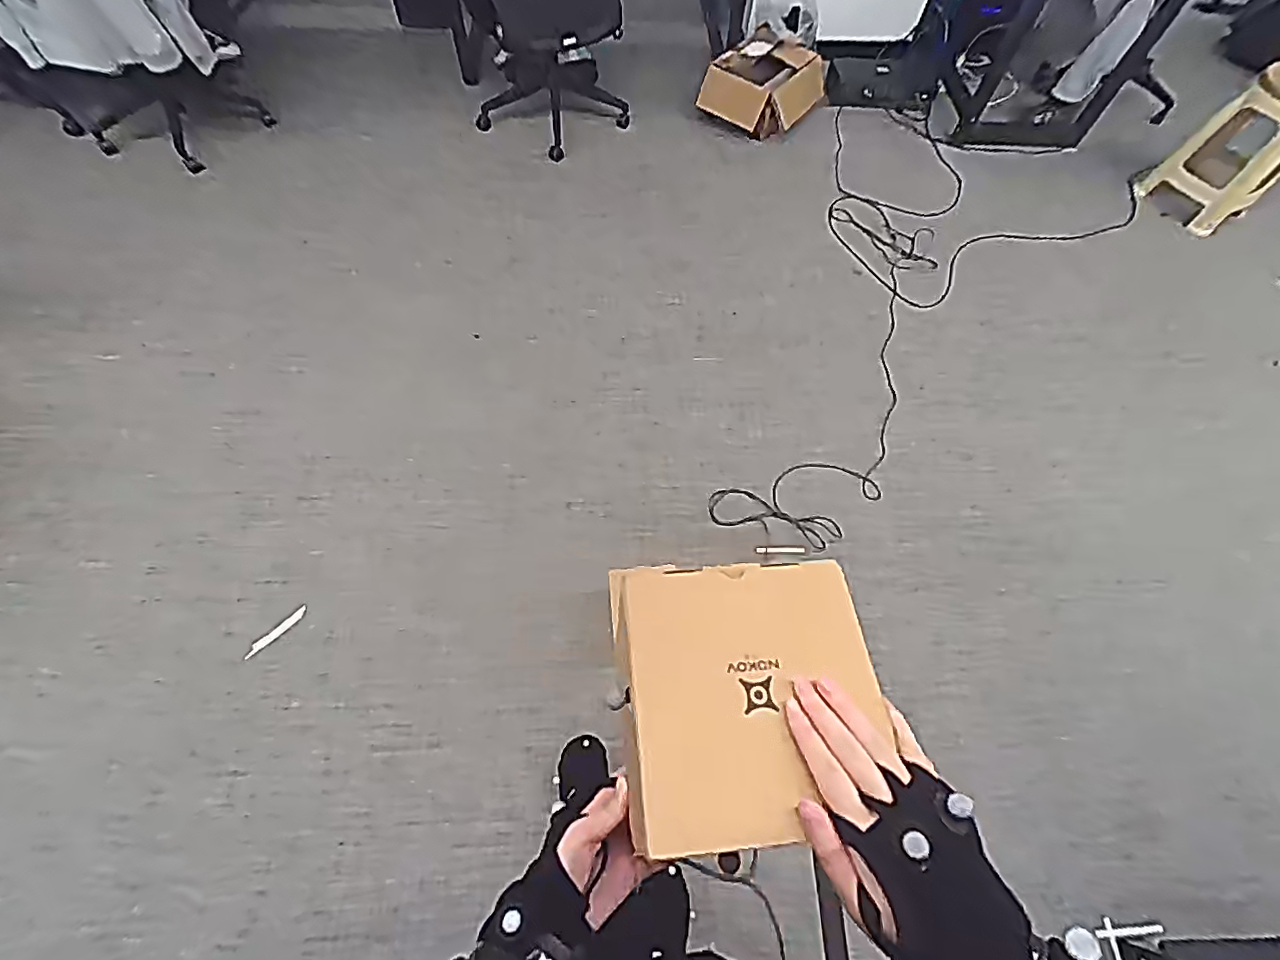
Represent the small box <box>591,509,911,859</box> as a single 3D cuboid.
[{"bbox_3d":[0.078,0.145,0.401,0.179,0.176,0.168,-17,38,6],"label":"small box"}]
